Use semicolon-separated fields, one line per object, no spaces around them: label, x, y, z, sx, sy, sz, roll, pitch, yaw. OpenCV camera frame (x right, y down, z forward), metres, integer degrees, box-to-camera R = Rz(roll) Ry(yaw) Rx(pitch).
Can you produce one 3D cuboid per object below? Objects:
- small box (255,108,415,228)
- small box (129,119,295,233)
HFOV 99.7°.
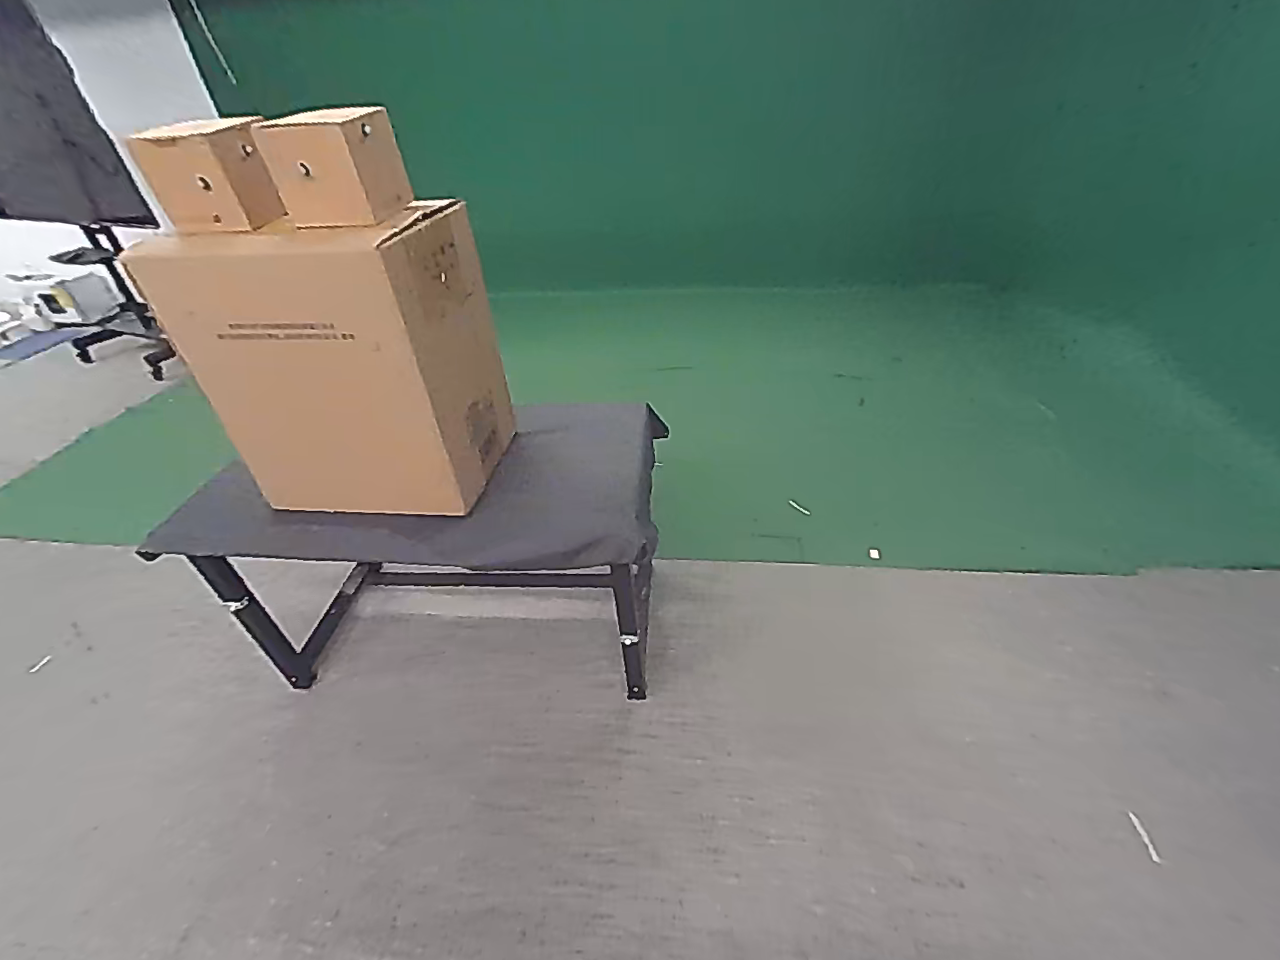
small box;-0.572;-0.597;1.039;0.179;0.176;0.168;1;42;9
small box;-0.826;-0.601;1.075;0.168;0.176;0.179;2;41;6
